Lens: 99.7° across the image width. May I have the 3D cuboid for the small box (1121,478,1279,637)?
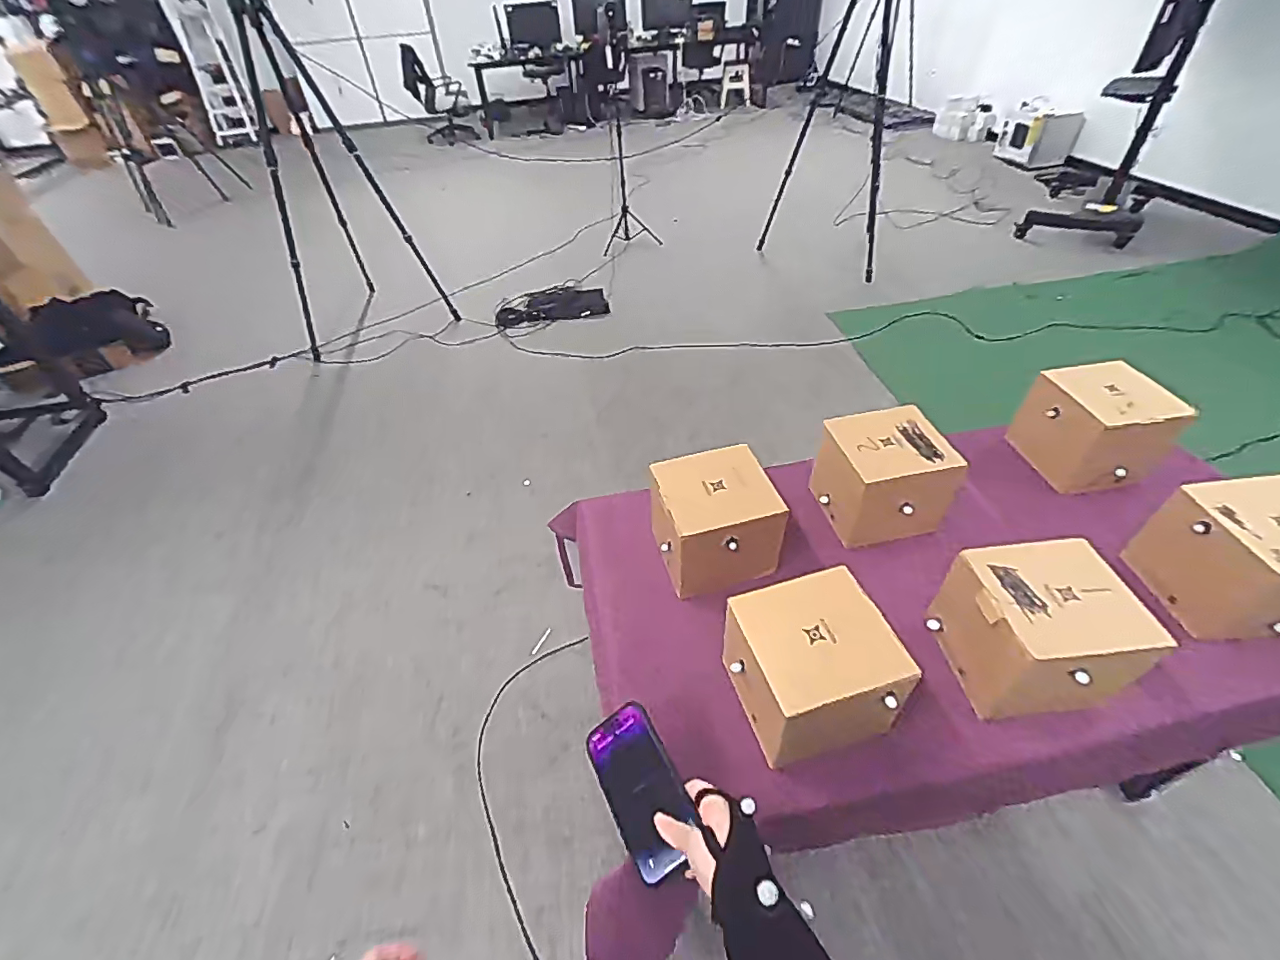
[{"bbox_3d":[0.891,0.116,0.804,0.179,0.176,0.168,-5,44,-1],"label":"small box"}]

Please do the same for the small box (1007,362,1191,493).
[{"bbox_3d":[0.849,-0.099,1.028,0.168,0.176,0.179,-8,45,-2],"label":"small box"}]

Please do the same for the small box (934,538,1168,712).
[{"bbox_3d":[0.535,0.202,0.745,0.179,0.176,0.168,-5,44,-2],"label":"small box"}]

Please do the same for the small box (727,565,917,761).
[{"bbox_3d":[0.226,0.246,0.726,0.179,0.176,0.168,-13,44,-11],"label":"small box"}]
